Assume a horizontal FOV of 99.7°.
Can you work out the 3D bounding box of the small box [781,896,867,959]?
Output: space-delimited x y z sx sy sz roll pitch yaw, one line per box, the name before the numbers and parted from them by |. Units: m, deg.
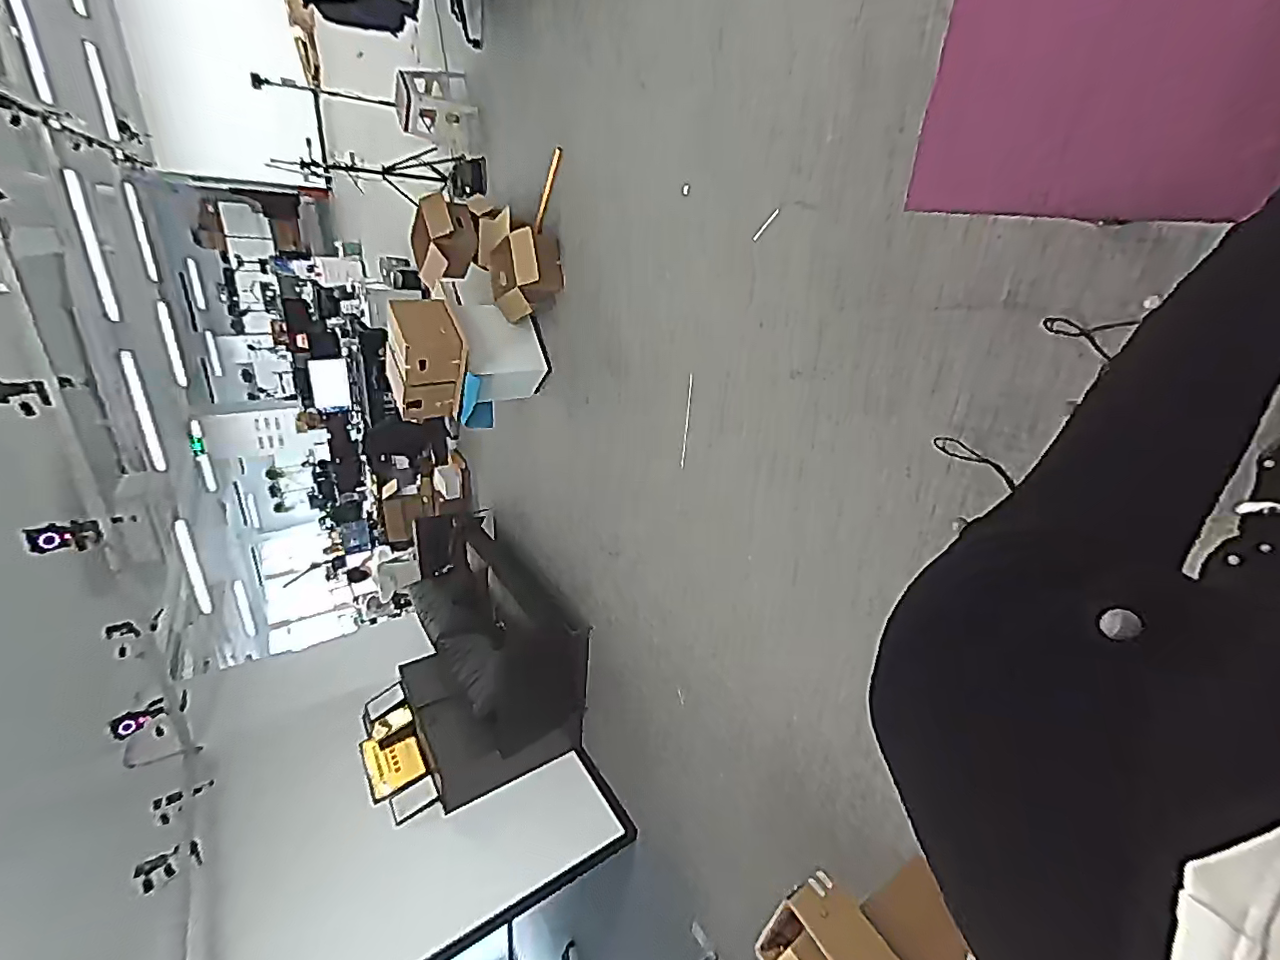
small box | 0.592 1.493 1.735 0.168 0.176 0.179 47 137 40
